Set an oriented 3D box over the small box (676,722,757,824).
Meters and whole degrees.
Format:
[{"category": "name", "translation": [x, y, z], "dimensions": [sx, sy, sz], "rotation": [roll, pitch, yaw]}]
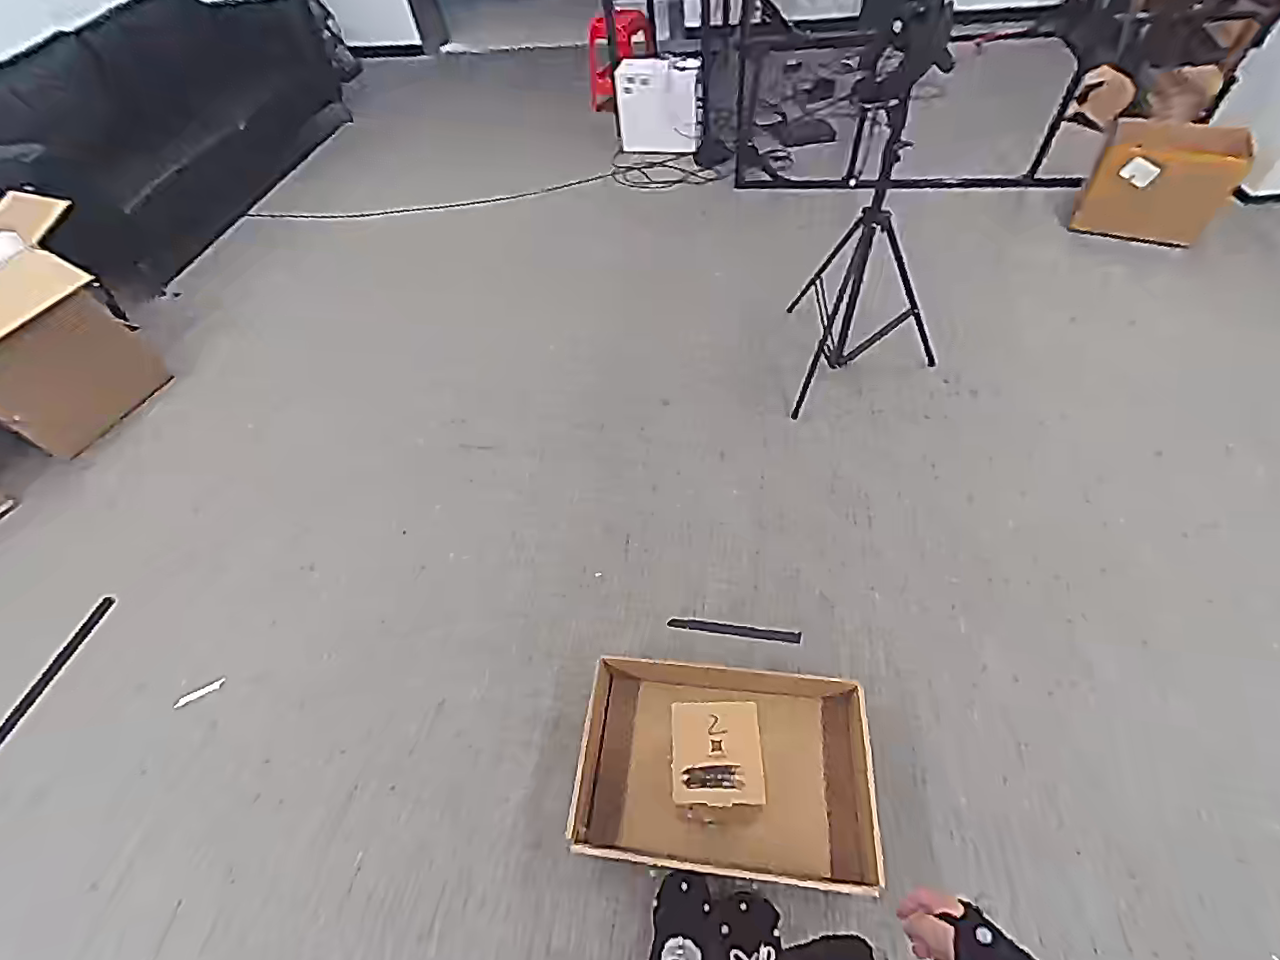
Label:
[{"category": "small box", "translation": [0.165, 0.651, 1.199], "dimensions": [0.168, 0.176, 0.179], "rotation": [-2, 54, 6]}]
